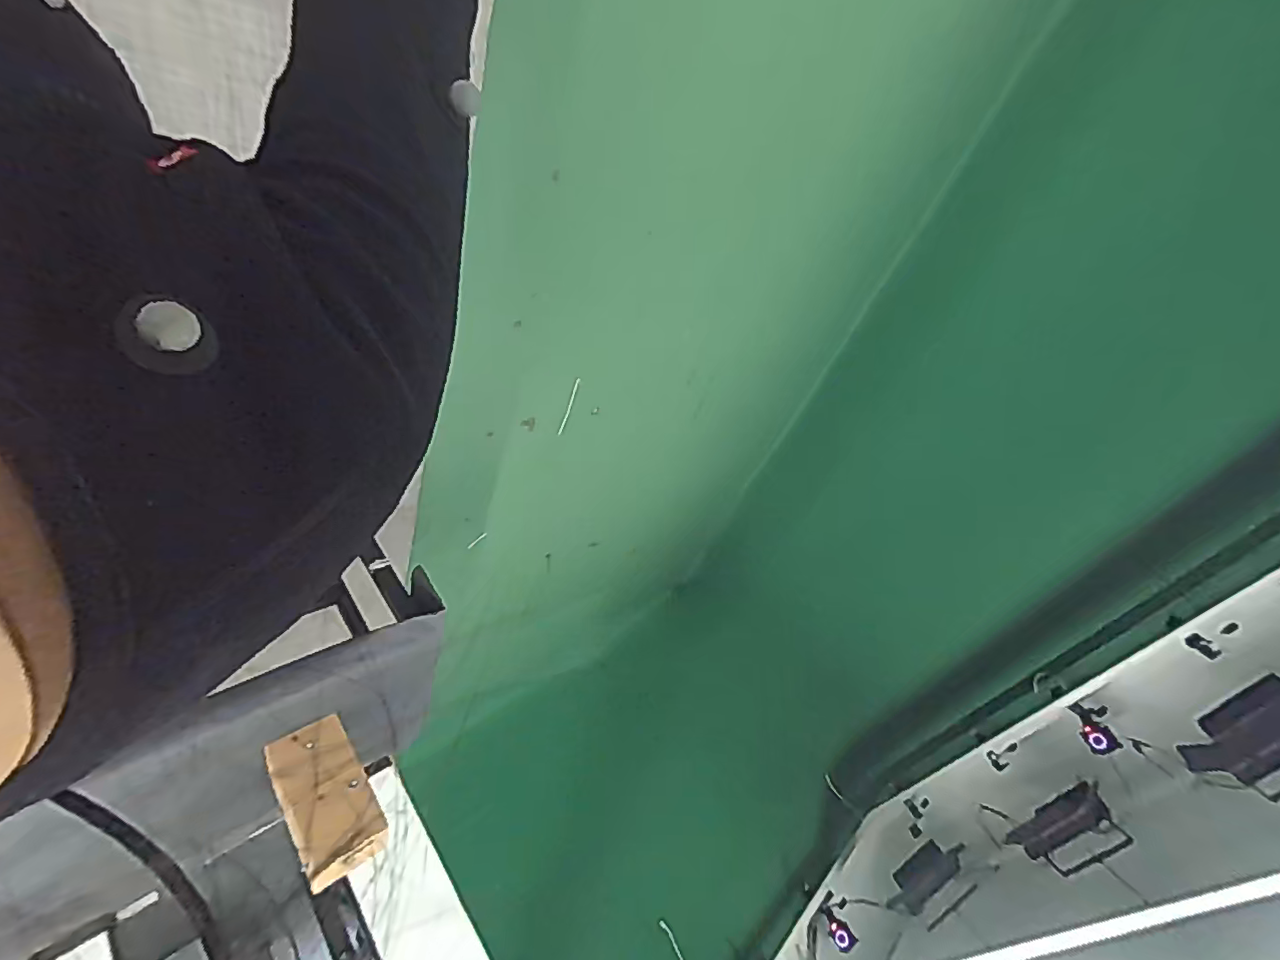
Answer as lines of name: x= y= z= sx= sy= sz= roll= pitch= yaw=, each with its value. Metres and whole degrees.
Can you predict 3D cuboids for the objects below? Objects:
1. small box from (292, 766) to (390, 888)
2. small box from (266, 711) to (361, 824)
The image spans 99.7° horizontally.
small box: x=-0.743 y=0.847 z=1.337 sx=0.168 sy=0.176 sz=0.179 roll=-17 pitch=145 yaw=-44
small box: x=-0.846 y=0.738 z=1.402 sx=0.168 sy=0.176 sz=0.179 roll=-19 pitch=145 yaw=-43
